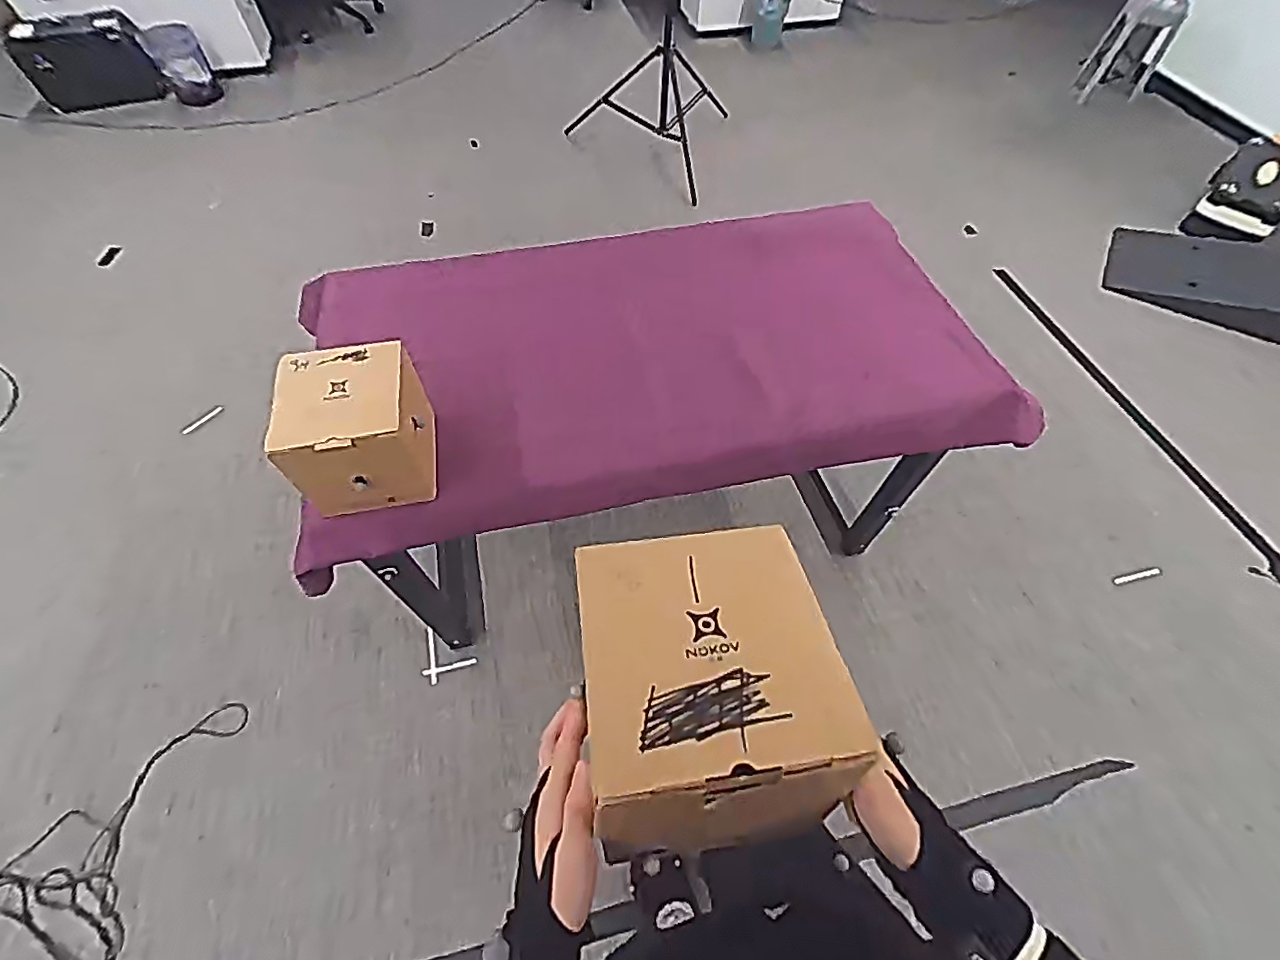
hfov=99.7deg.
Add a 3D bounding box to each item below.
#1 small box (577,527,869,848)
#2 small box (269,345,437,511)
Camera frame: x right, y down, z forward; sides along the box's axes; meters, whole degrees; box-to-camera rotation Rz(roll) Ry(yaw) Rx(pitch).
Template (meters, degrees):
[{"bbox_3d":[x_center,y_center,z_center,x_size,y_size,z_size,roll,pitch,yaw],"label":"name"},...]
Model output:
[{"bbox_3d":[0.043,0.162,0.419,0.168,0.176,0.179,-6,44,-6],"label":"small box"},{"bbox_3d":[-0.406,-0.068,0.797,0.168,0.176,0.179,-10,59,-8],"label":"small box"}]
